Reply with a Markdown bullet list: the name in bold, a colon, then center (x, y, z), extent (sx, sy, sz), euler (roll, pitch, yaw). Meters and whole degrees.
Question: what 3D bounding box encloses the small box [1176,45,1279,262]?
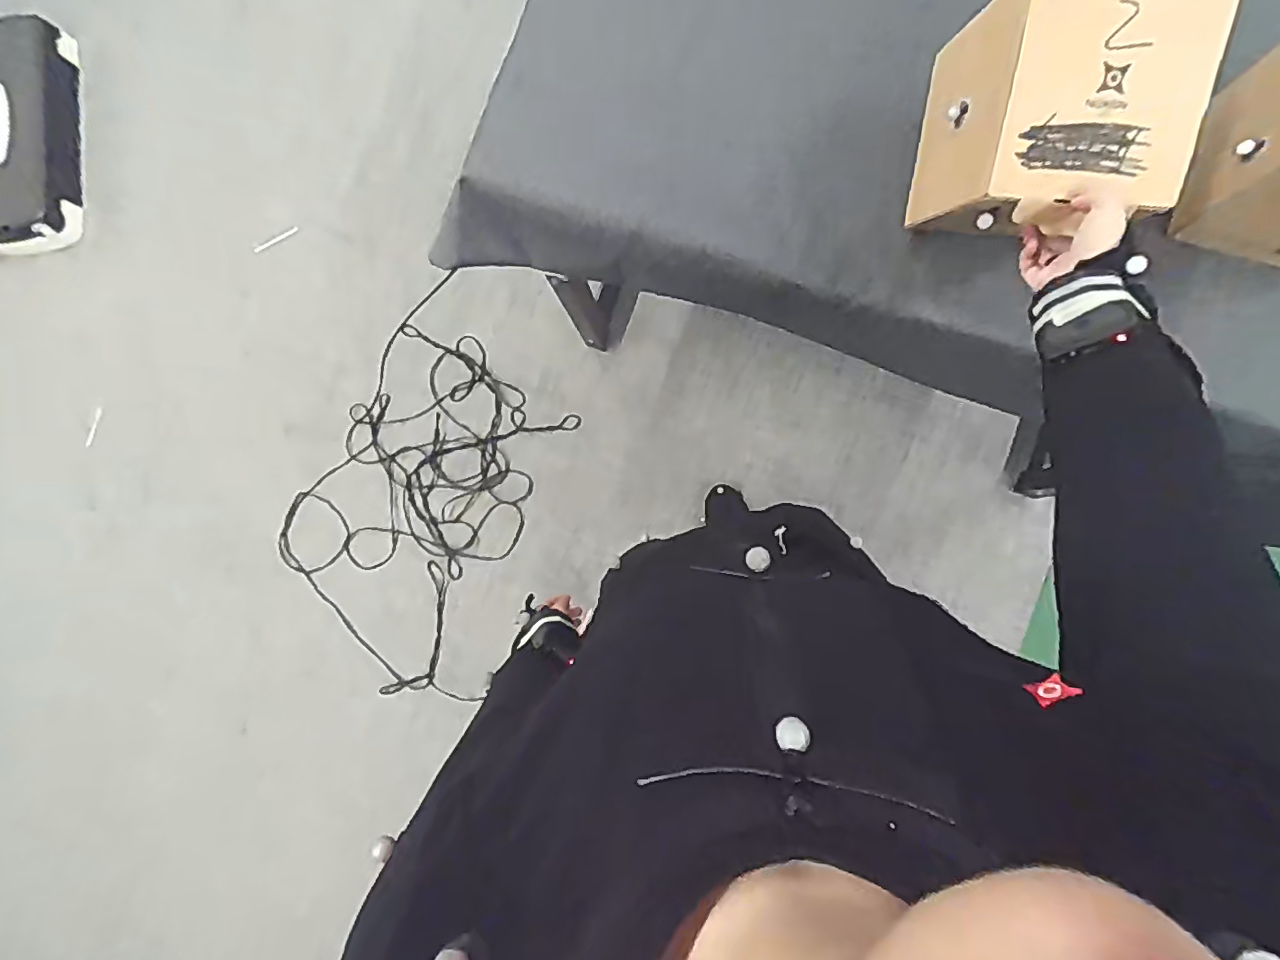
- **small box**: center (0.701, -0.340, 0.536), extent (0.168, 0.176, 0.179), euler (19, 86, 5)
